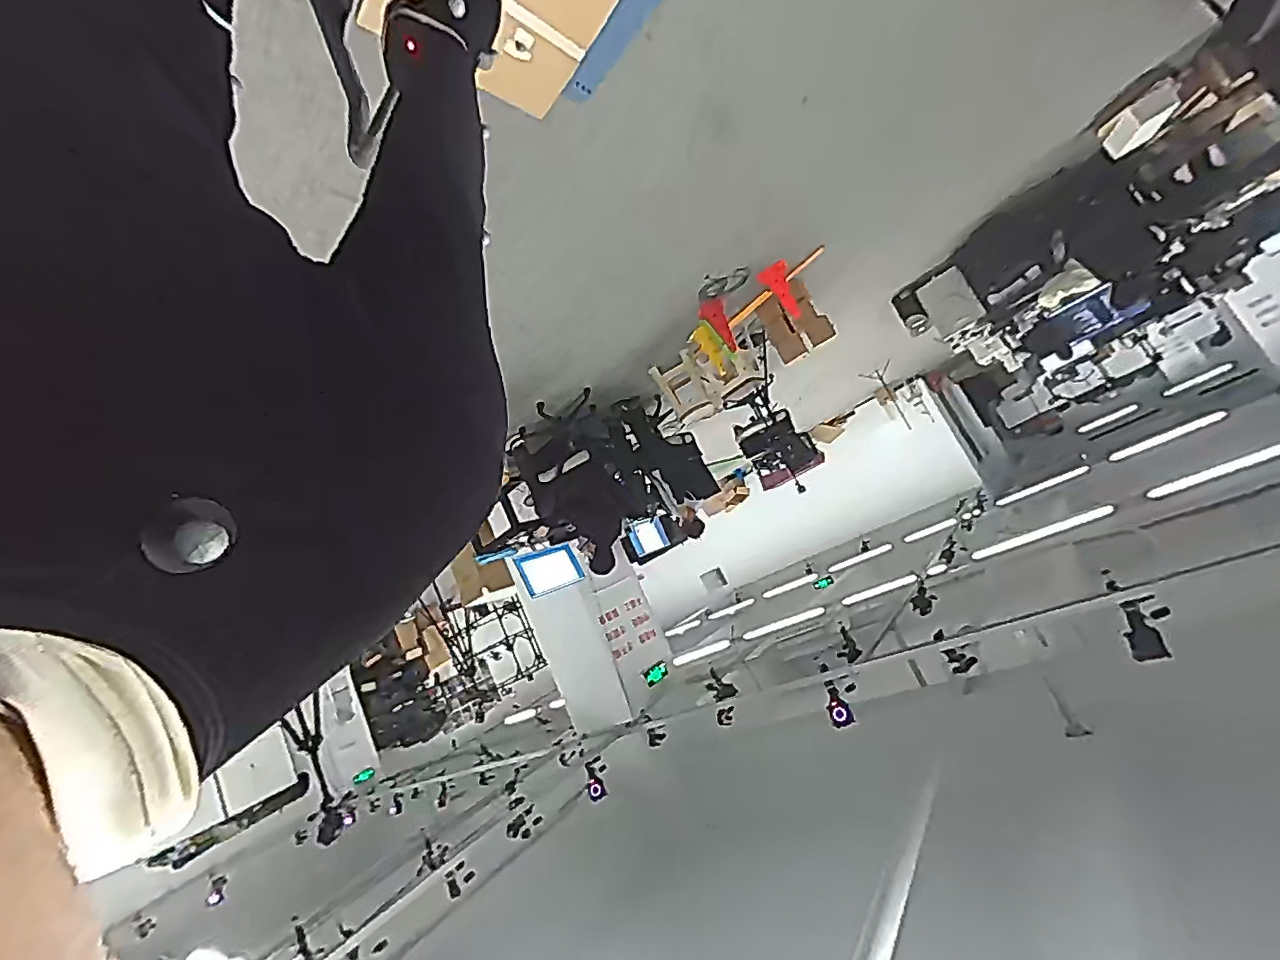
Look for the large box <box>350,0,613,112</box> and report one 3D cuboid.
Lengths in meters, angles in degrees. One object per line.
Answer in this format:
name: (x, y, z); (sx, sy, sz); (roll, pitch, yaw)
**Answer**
large box: (-0.307, -0.973, 0.966); (0.320, 0.320, 0.408); (-34, 167, 37)
